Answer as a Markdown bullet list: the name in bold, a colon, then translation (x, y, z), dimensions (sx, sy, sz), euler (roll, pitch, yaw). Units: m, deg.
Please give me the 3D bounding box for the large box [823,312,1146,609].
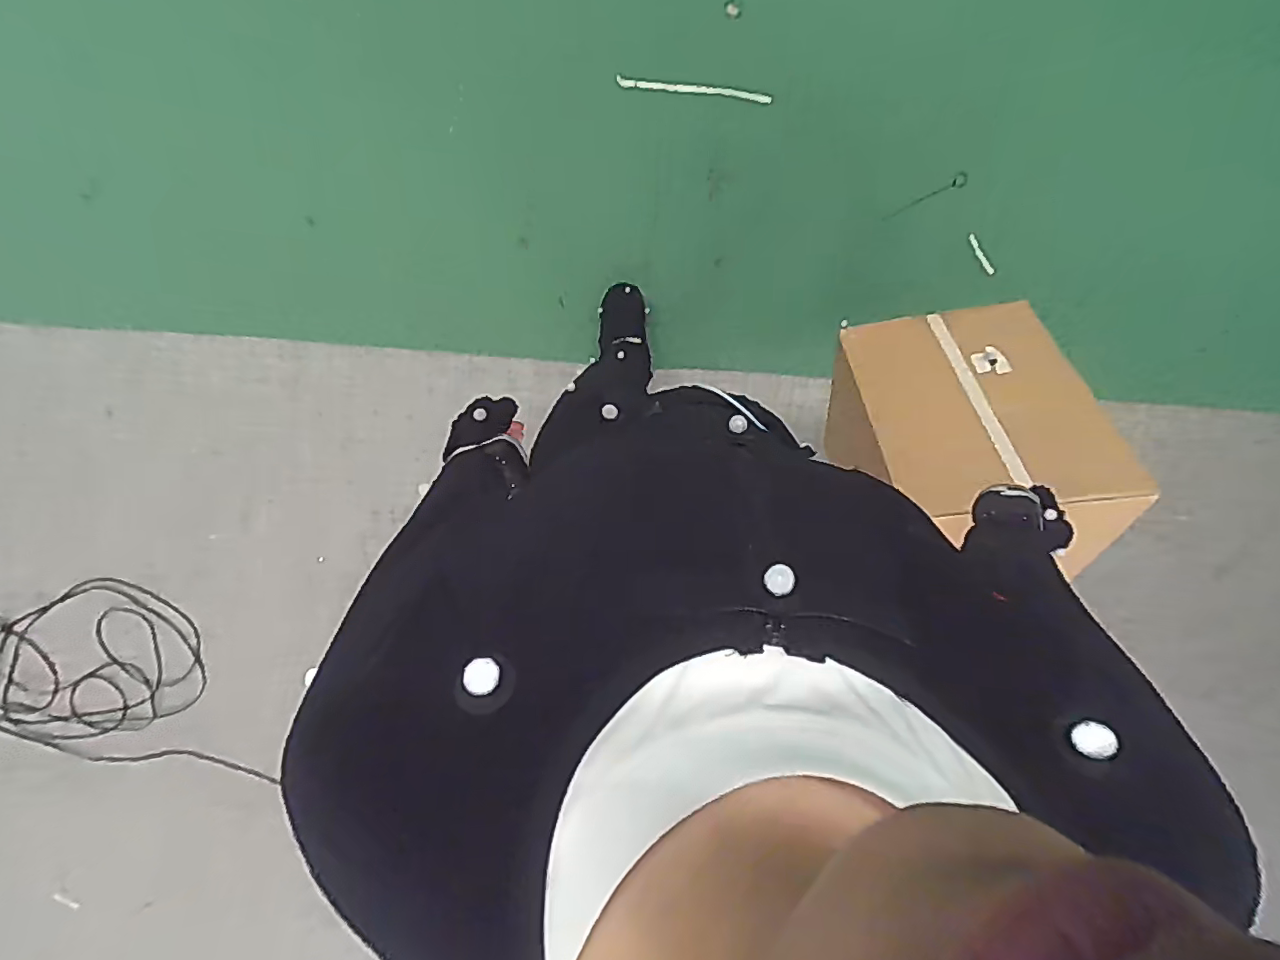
- **large box**: translation (0.533, -0.030, 0.956), dimensions (0.320, 0.408, 0.320), euler (-6, 142, 7)
